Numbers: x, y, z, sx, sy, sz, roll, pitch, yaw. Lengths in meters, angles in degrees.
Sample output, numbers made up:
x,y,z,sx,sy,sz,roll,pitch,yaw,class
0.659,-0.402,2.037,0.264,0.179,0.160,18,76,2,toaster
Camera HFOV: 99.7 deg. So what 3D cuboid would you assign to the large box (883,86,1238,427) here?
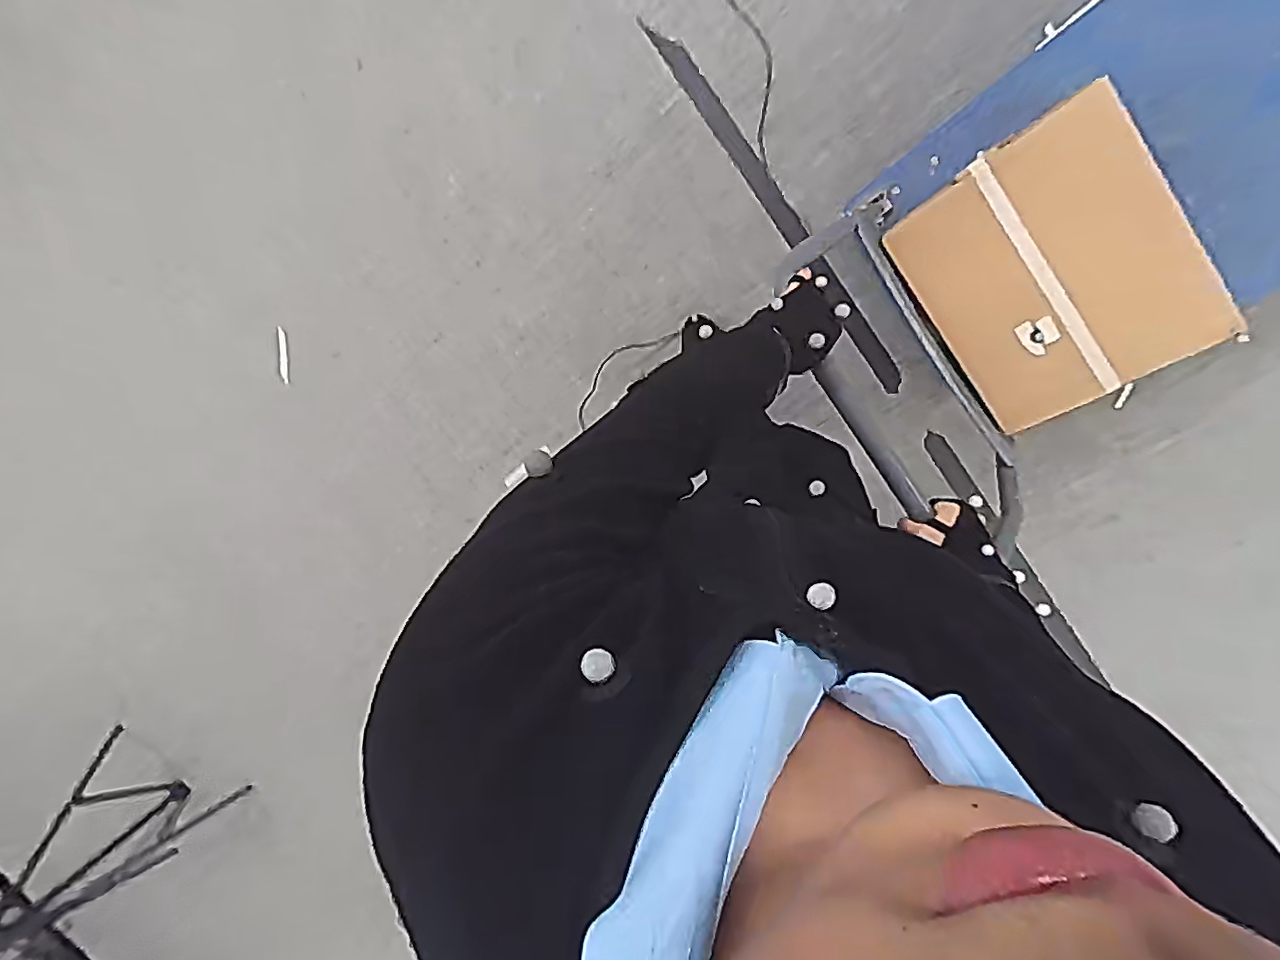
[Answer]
x,y,z,sx,sy,sz,roll,pitch,yaw,class
0.683,-0.376,0.949,0.320,0.320,0.408,-32,99,37,large box
